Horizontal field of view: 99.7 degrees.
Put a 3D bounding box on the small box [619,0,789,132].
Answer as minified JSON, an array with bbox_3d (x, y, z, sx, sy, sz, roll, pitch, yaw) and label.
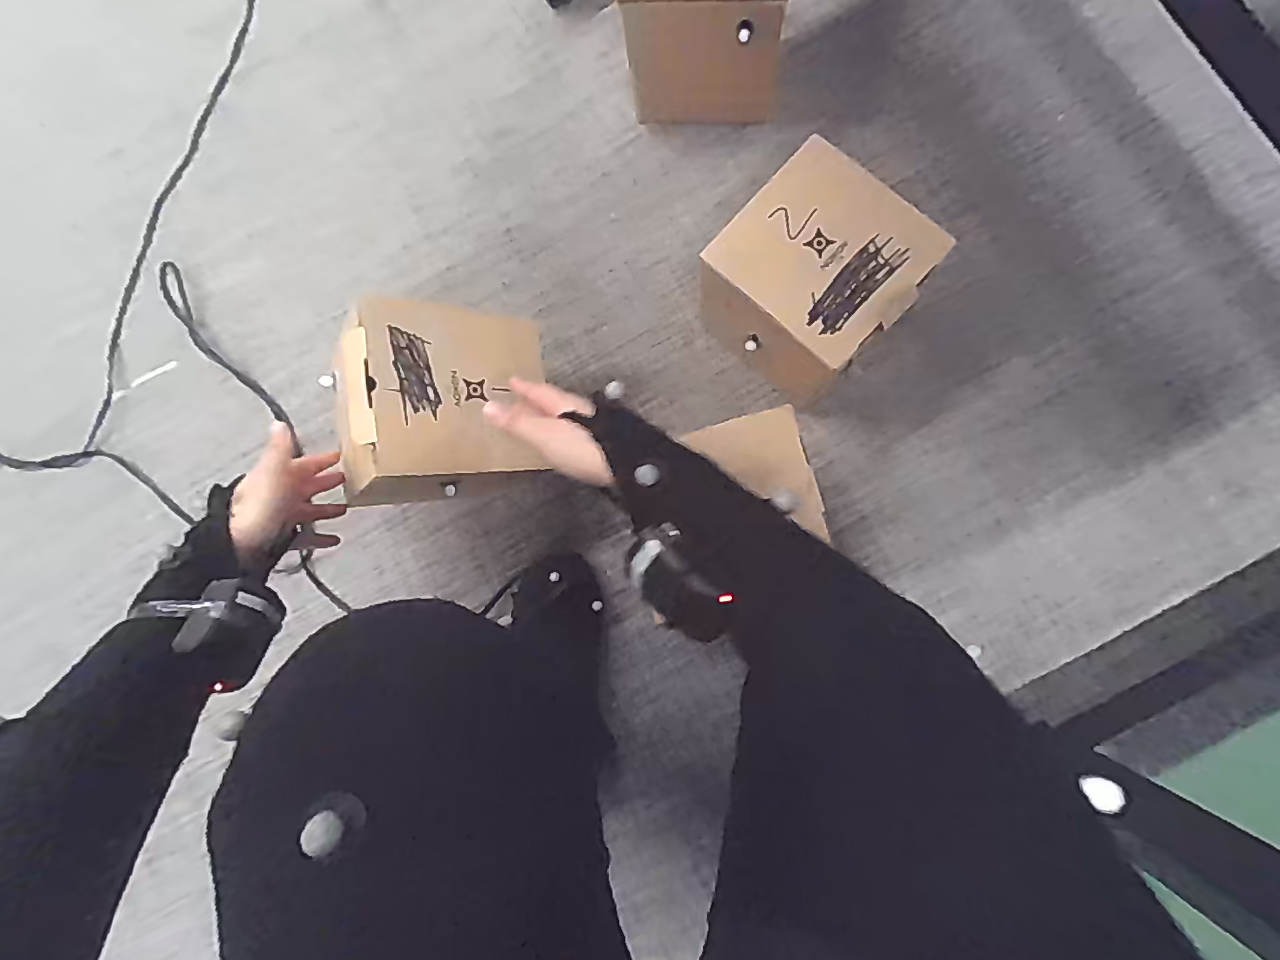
[{"bbox_3d":[0.079,-0.548,0.642,0.179,0.176,0.168,4,84,6],"label":"small box"}]
